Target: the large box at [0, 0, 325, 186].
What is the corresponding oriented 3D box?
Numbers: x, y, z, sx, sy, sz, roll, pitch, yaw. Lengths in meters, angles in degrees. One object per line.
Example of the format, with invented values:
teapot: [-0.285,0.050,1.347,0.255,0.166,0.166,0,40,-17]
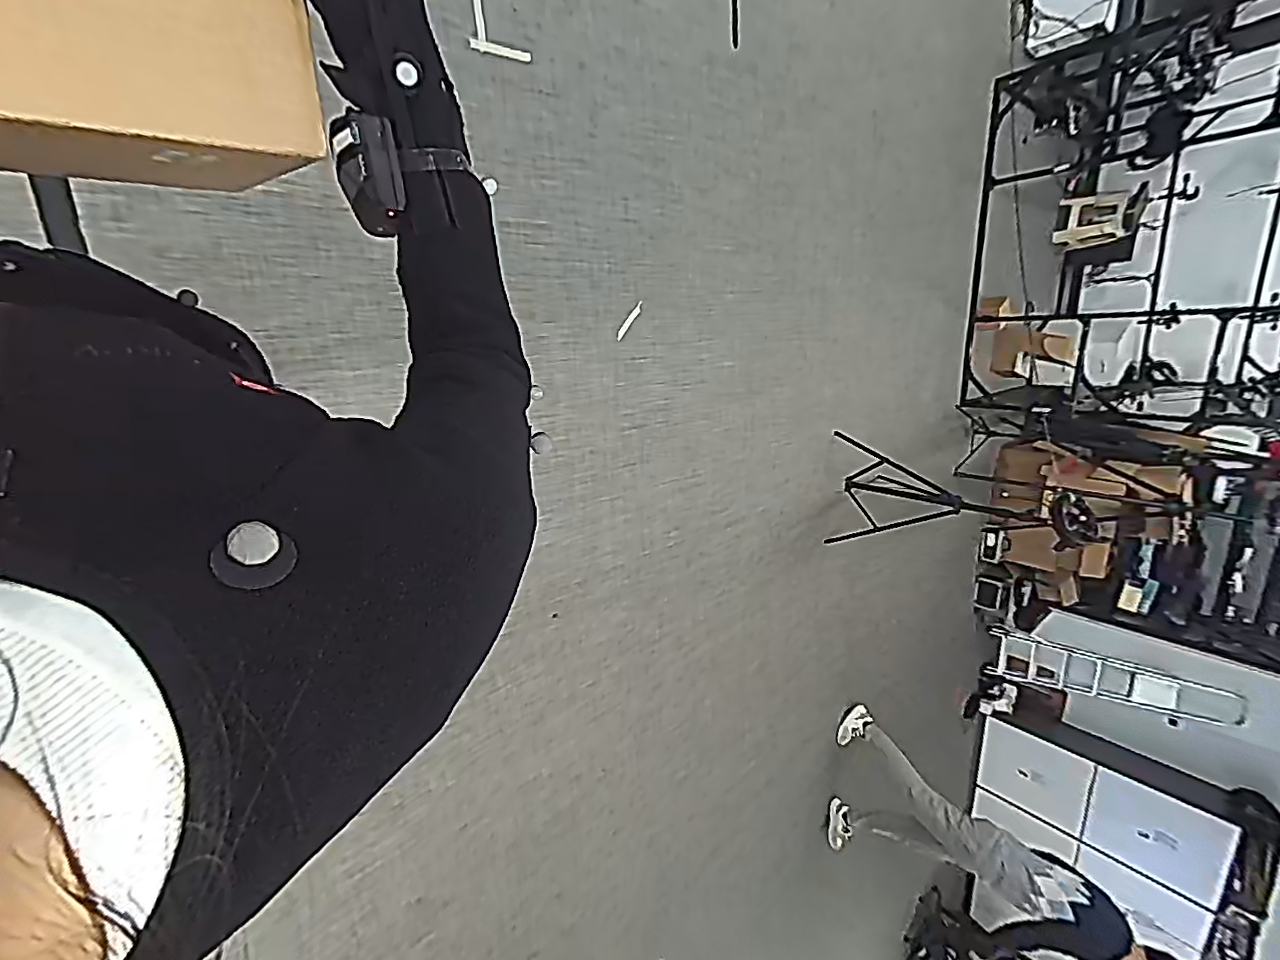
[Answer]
large box: [-0.459,-0.355,0.285,0.408,0.320,0.320,-19,121,-40]
